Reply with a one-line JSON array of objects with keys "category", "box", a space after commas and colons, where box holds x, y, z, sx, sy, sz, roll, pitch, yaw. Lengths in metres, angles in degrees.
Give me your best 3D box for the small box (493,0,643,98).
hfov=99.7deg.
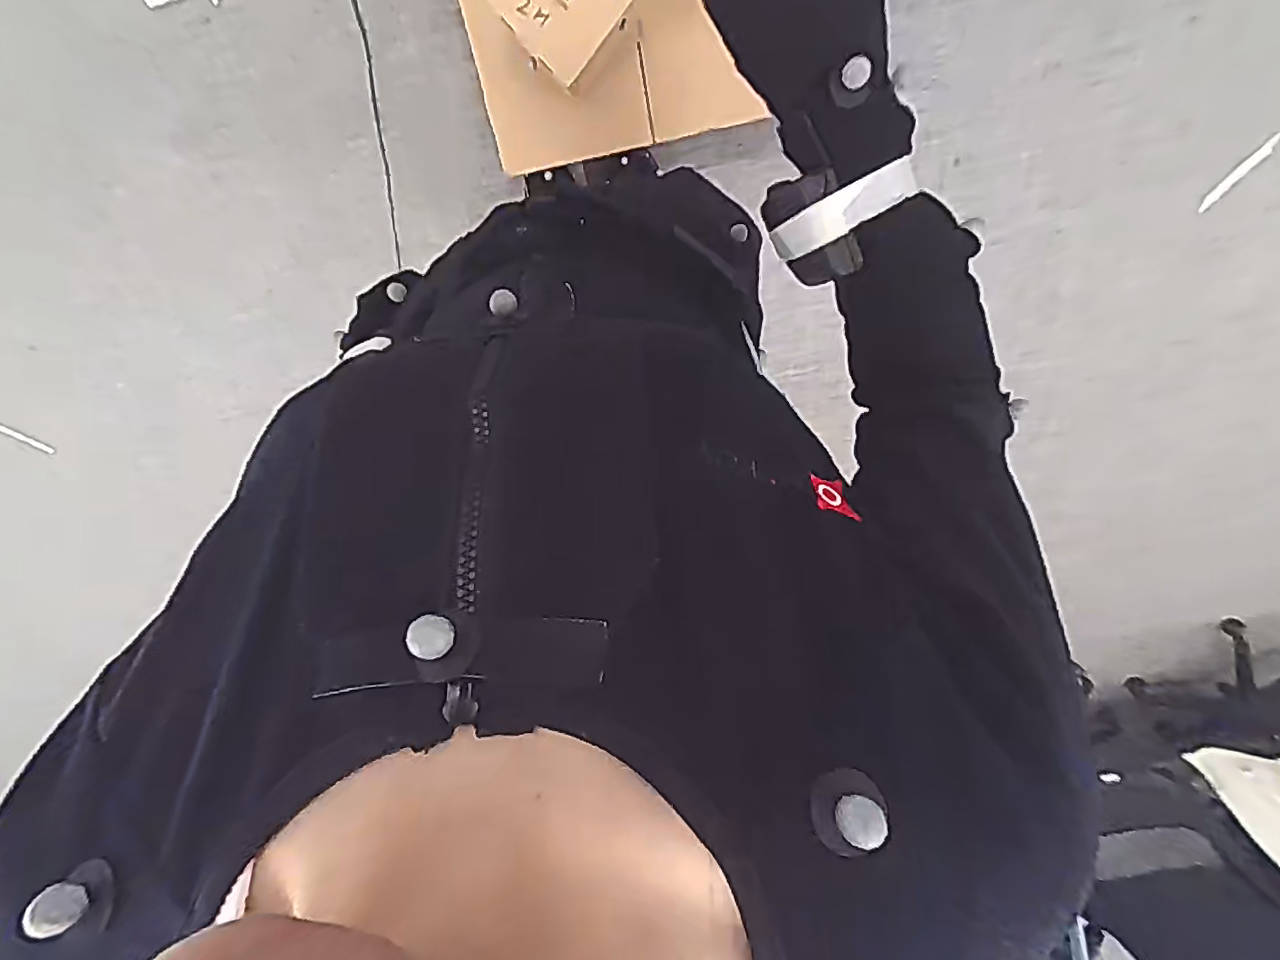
[{"category": "small box", "box": [-0.110, -0.763, 0.870, 0.168, 0.176, 0.179, 40, 111, -20]}]
